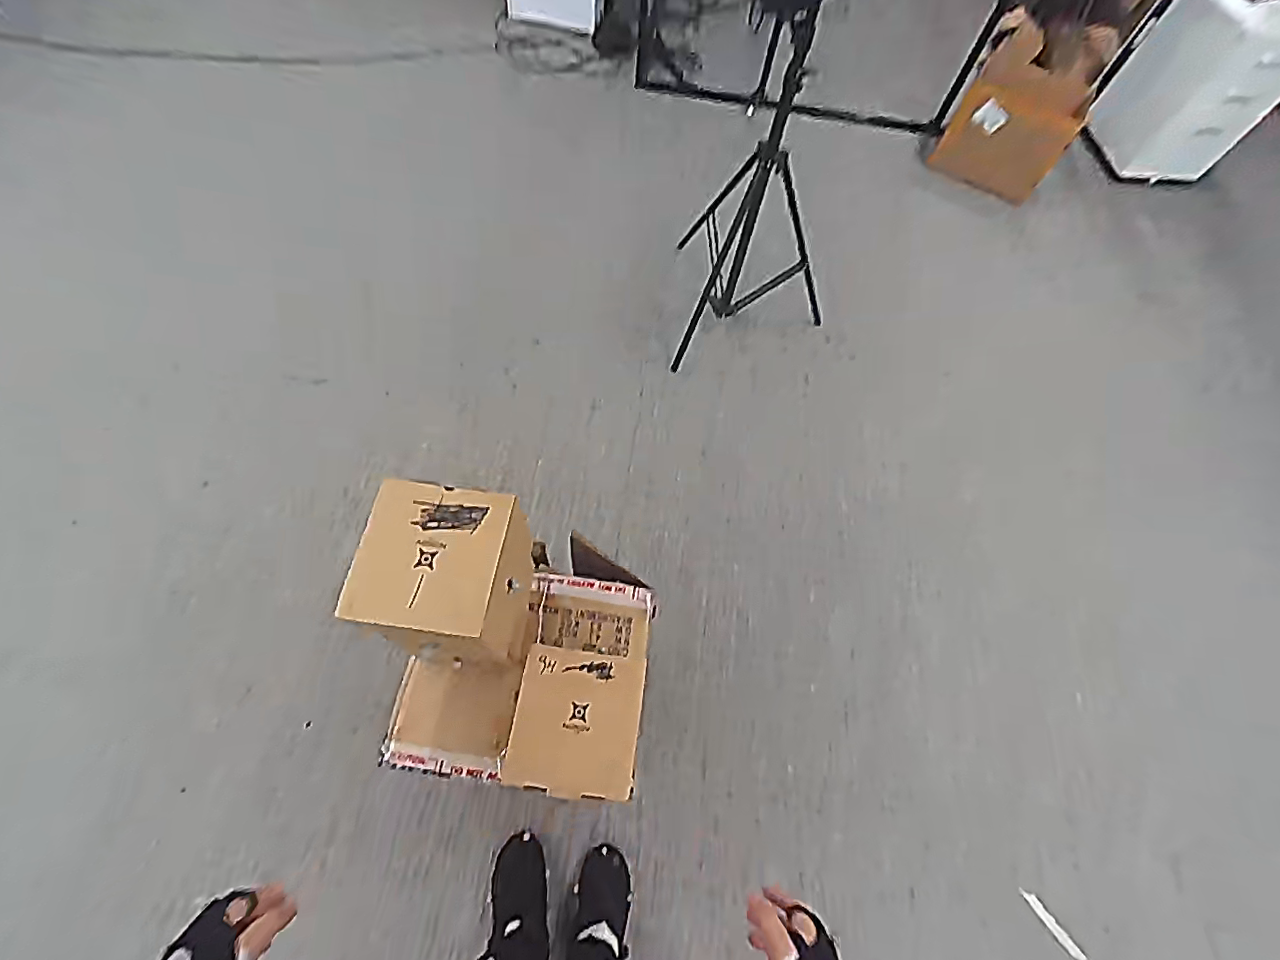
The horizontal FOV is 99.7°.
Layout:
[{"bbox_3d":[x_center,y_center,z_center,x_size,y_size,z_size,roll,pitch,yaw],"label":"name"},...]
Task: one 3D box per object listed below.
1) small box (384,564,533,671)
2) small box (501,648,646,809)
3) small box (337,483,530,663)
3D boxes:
[{"bbox_3d":[-0.268,0.193,0.847,0.168,0.176,0.179,4,64,0],"label":"small box"},{"bbox_3d":[-0.089,0.354,0.781,0.168,0.176,0.179,9,64,-1],"label":"small box"},{"bbox_3d":[-0.246,0.126,0.697,0.168,0.176,0.179,8,65,1],"label":"small box"}]
